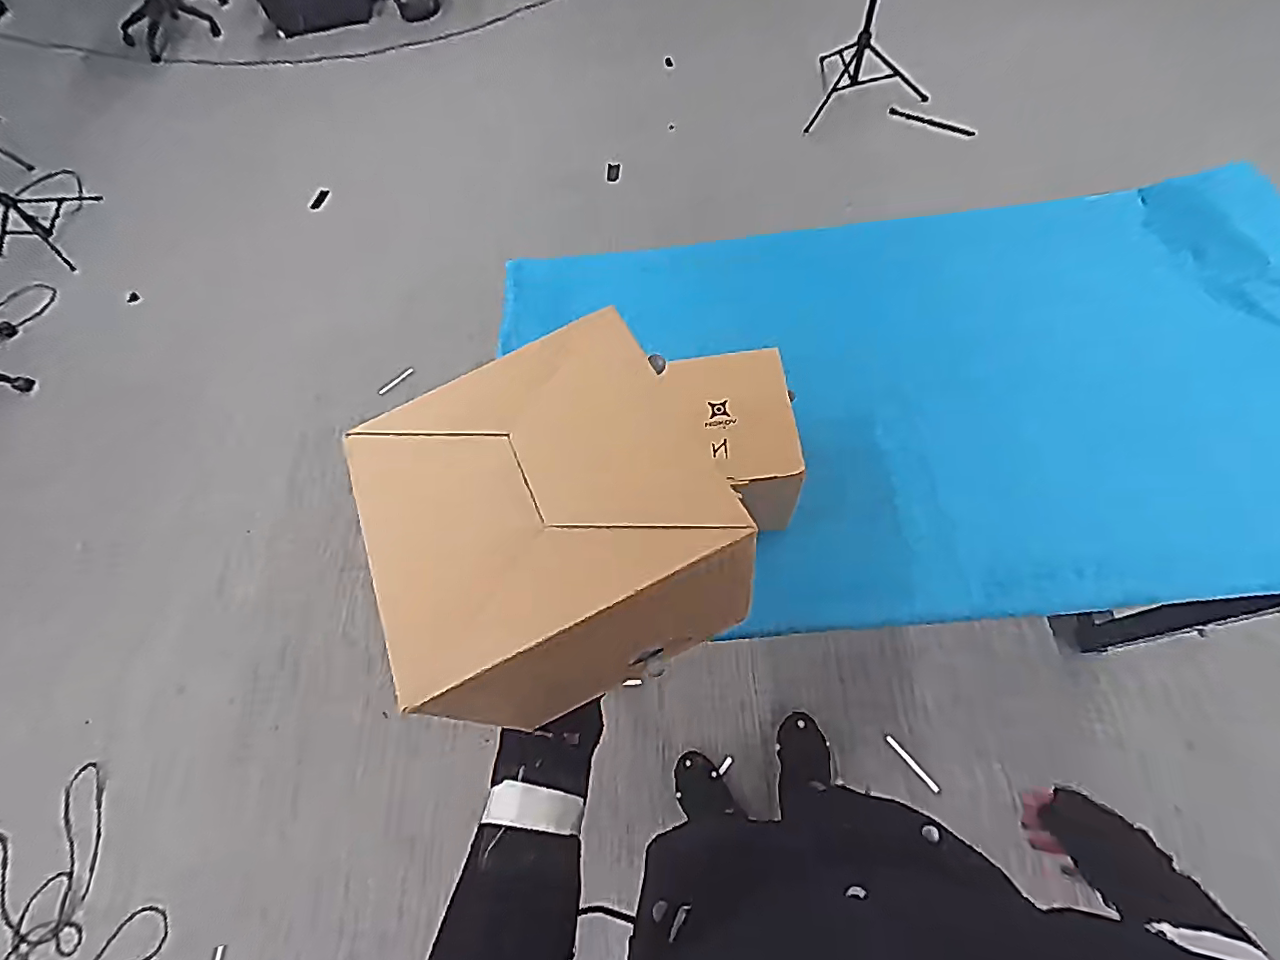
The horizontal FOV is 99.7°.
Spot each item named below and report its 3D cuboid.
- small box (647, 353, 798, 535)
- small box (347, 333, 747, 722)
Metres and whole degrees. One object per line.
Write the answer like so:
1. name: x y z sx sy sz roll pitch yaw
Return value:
1. small box: 0.100 -0.036 0.691 0.168 0.176 0.179 -4 67 8
2. small box: -0.046 0.035 0.348 0.179 0.176 0.168 -26 61 -3
